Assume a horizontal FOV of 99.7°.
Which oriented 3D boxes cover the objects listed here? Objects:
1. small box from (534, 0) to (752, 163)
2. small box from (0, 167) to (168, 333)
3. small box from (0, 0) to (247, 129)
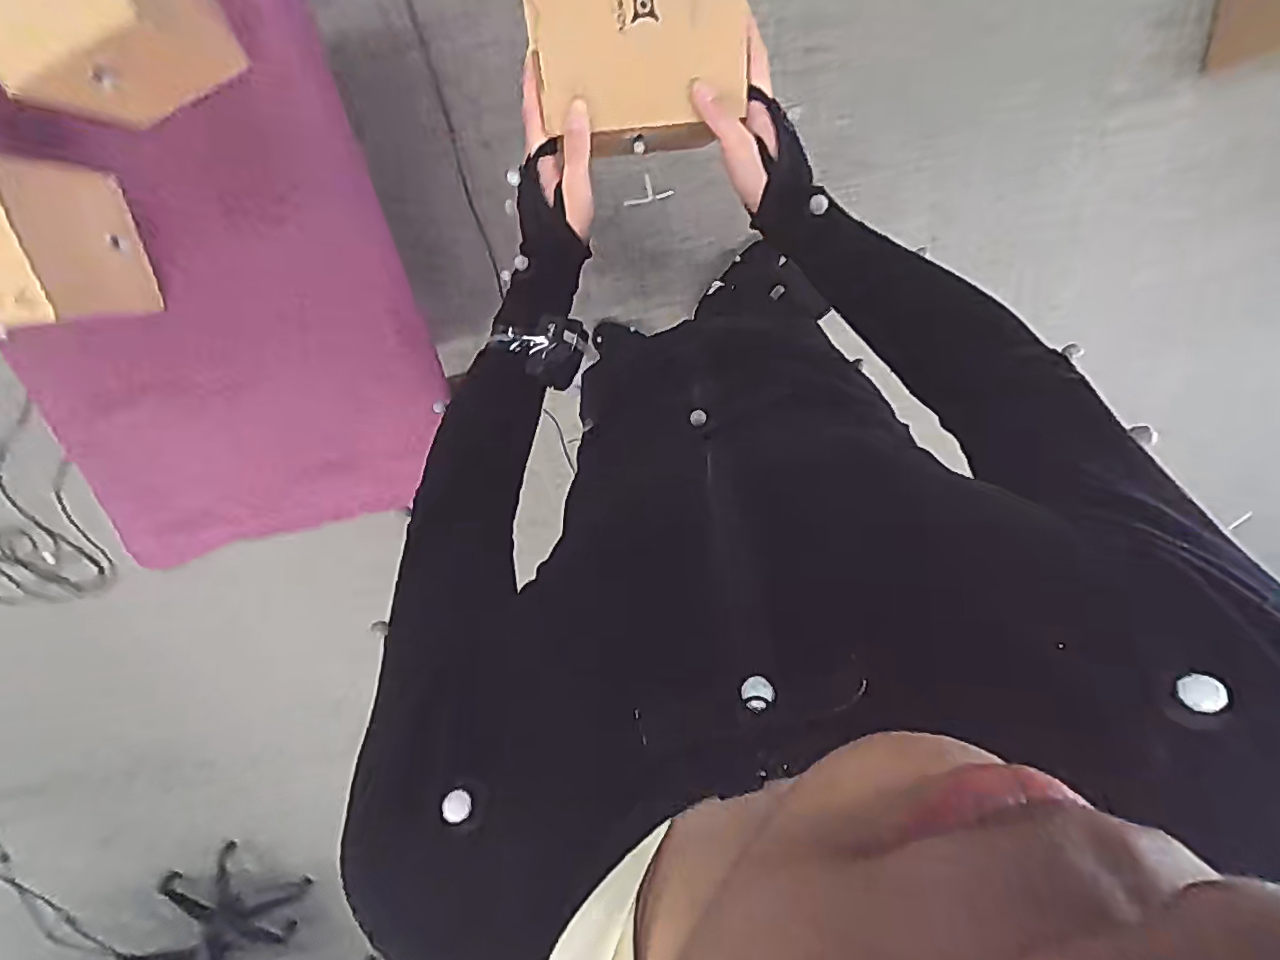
[{"bbox_3d":[-0.002,-0.406,0.505,0.179,0.176,0.168,-6,113,-3],"label":"small box"},{"bbox_3d":[-0.783,-0.288,0.701,0.168,0.176,0.179,-4,111,2],"label":"small box"},{"bbox_3d":[-0.604,-0.526,0.603,0.179,0.176,0.168,-20,111,9],"label":"small box"}]
